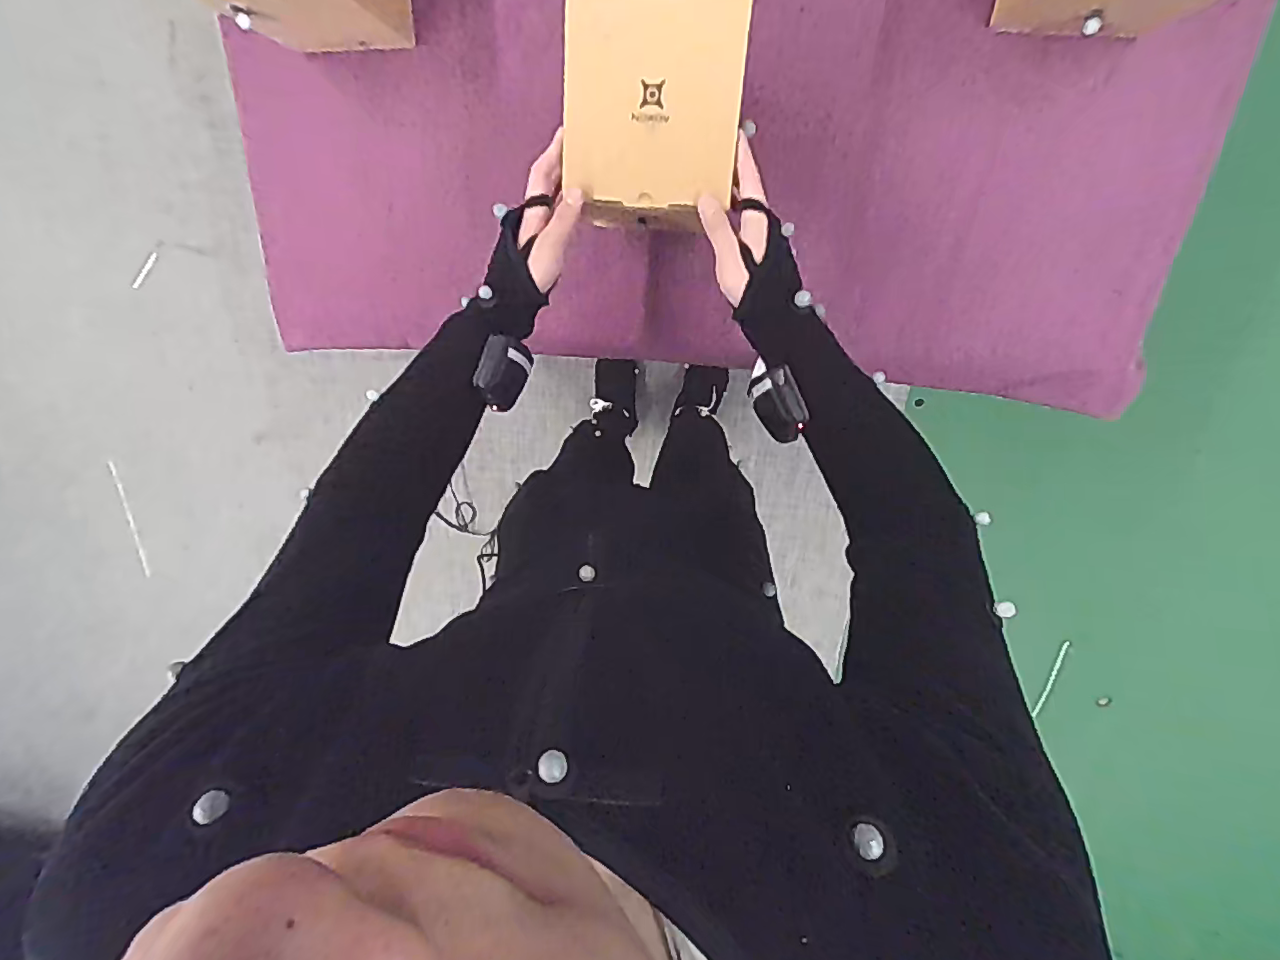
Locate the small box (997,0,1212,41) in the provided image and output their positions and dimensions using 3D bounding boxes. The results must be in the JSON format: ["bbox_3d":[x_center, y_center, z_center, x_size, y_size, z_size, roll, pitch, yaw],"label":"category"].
[{"bbox_3d":[0.464,-0.540,0.488,0.168,0.176,0.179,8,113,6],"label":"small box"}]

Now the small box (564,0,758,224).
[{"bbox_3d":[0.019,-0.377,0.564,0.168,0.176,0.179,5,111,3],"label":"small box"}]
